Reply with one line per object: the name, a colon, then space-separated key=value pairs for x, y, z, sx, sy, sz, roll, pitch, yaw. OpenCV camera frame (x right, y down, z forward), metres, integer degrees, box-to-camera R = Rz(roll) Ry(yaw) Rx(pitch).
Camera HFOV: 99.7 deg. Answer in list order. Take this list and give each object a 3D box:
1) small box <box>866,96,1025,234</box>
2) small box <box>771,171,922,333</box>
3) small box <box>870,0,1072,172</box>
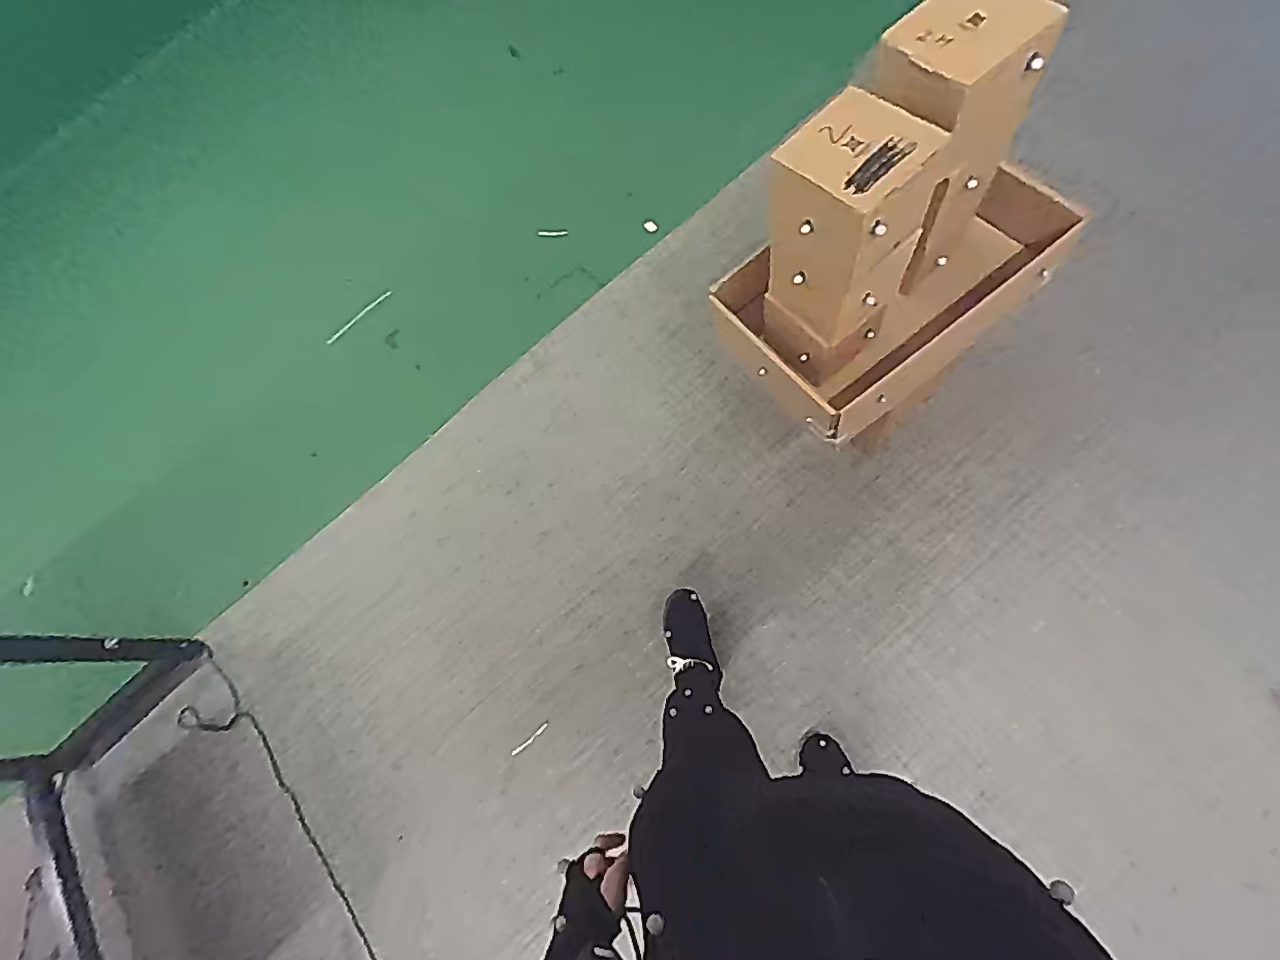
small box: x=0.529 y=-0.586 z=0.971 sx=0.179 sy=0.176 sz=0.168 roll=-45 pitch=69 yaw=-1
small box: x=0.352 y=-0.389 z=0.956 sx=0.168 sy=0.176 sz=0.179 roll=-40 pitch=68 yaw=-2
small box: x=0.477 y=-0.620 z=0.816 sx=0.179 sy=0.176 sz=0.168 roll=-38 pitch=68 yaw=2
